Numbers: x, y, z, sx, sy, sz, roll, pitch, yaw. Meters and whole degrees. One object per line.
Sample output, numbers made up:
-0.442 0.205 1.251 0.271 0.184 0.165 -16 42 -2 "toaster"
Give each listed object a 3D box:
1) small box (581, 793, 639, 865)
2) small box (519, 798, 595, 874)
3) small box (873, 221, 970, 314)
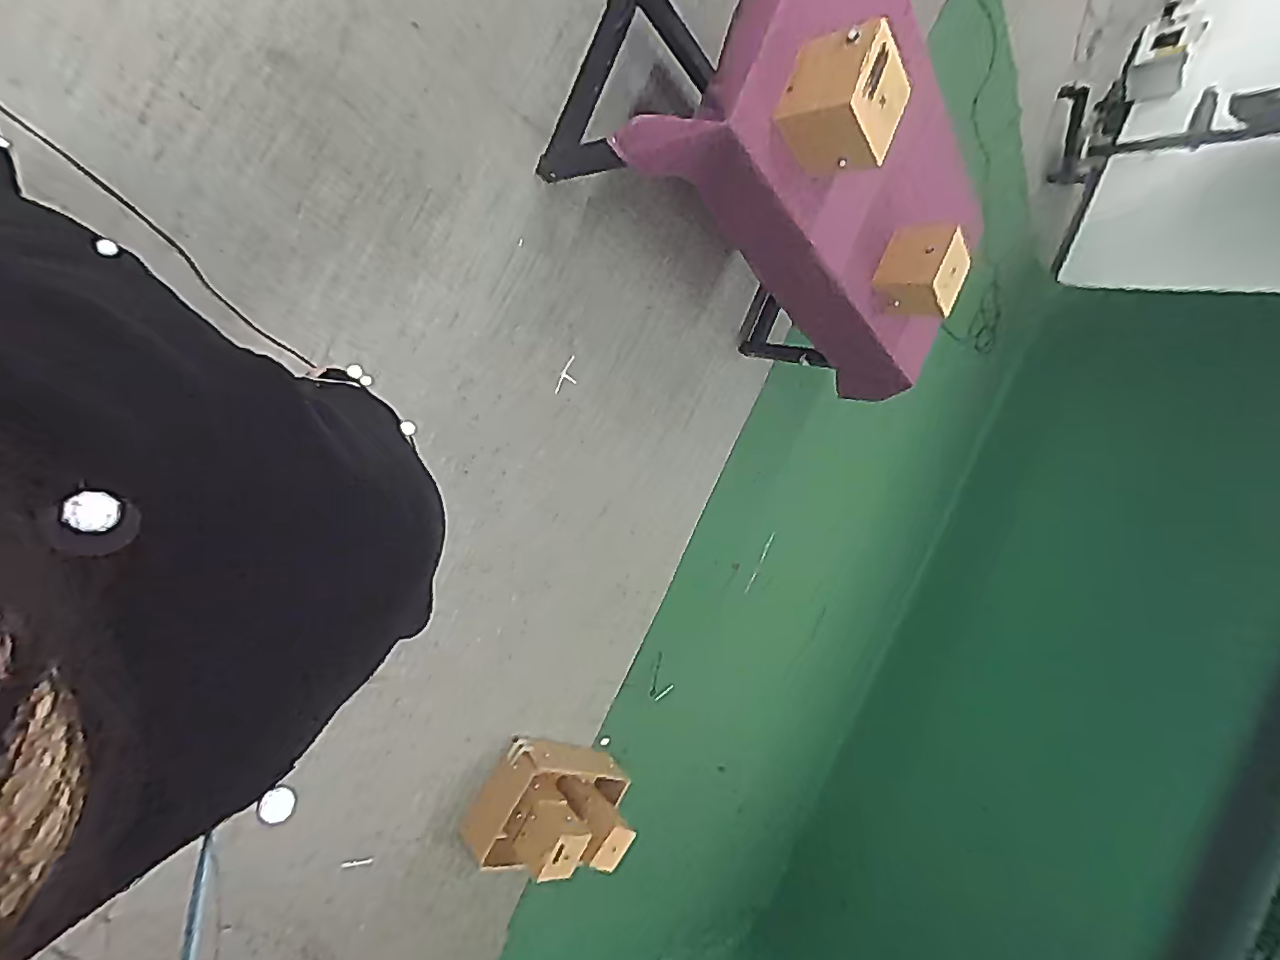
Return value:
-0.141 1.387 2.157 0.168 0.176 0.179 -52 132 -15 "small box"
-0.304 1.287 1.964 0.179 0.176 0.168 38 78 -46 "small box"
0.767 -0.579 1.481 0.168 0.176 0.179 27 87 -45 "small box"
